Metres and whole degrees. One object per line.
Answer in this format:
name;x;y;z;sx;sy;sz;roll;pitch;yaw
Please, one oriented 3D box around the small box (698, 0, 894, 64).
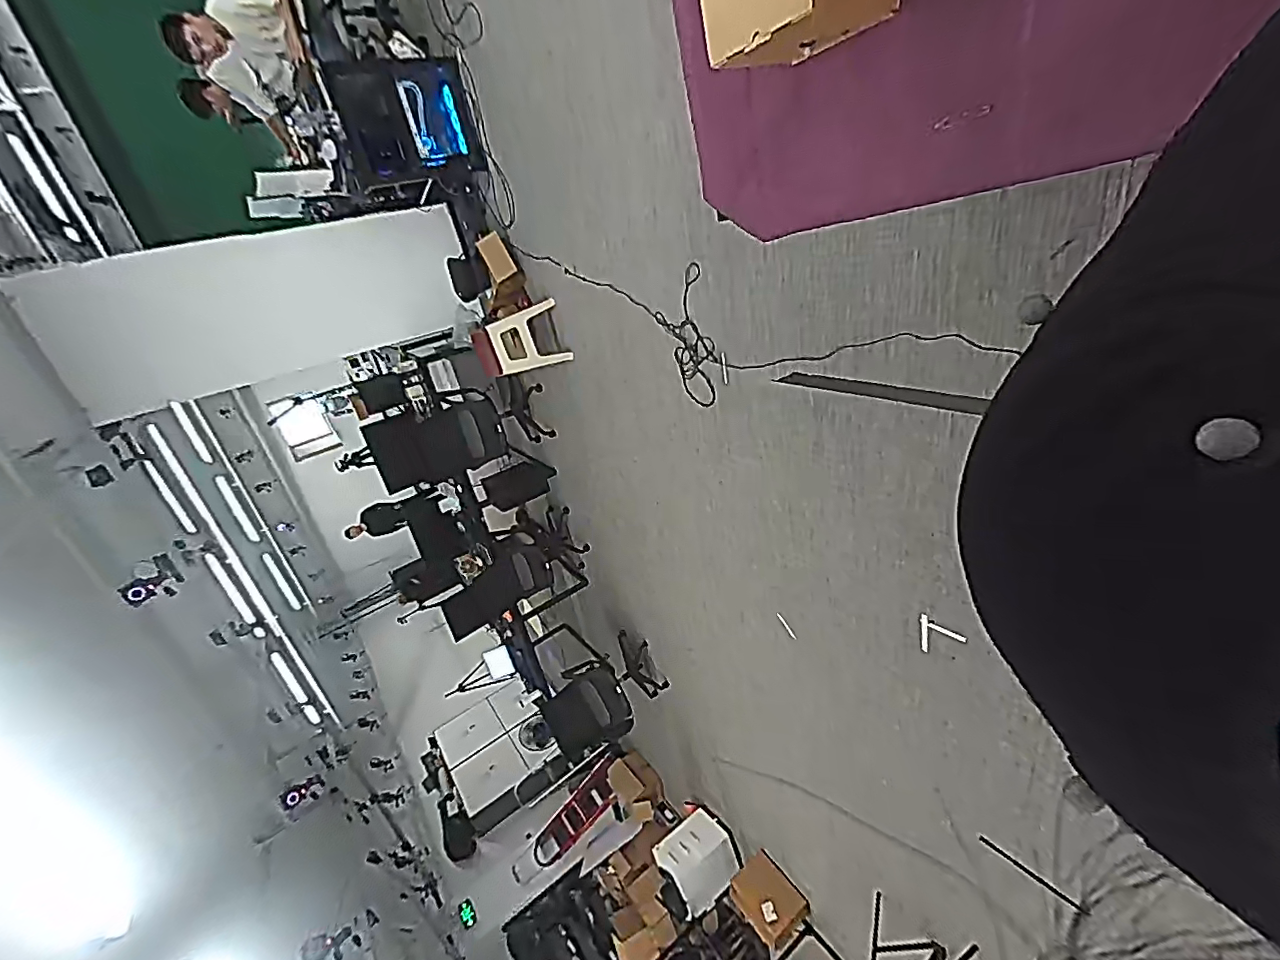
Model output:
small box;0.181;-0.631;0.642;0.168;0.176;0.179;20;132;53
